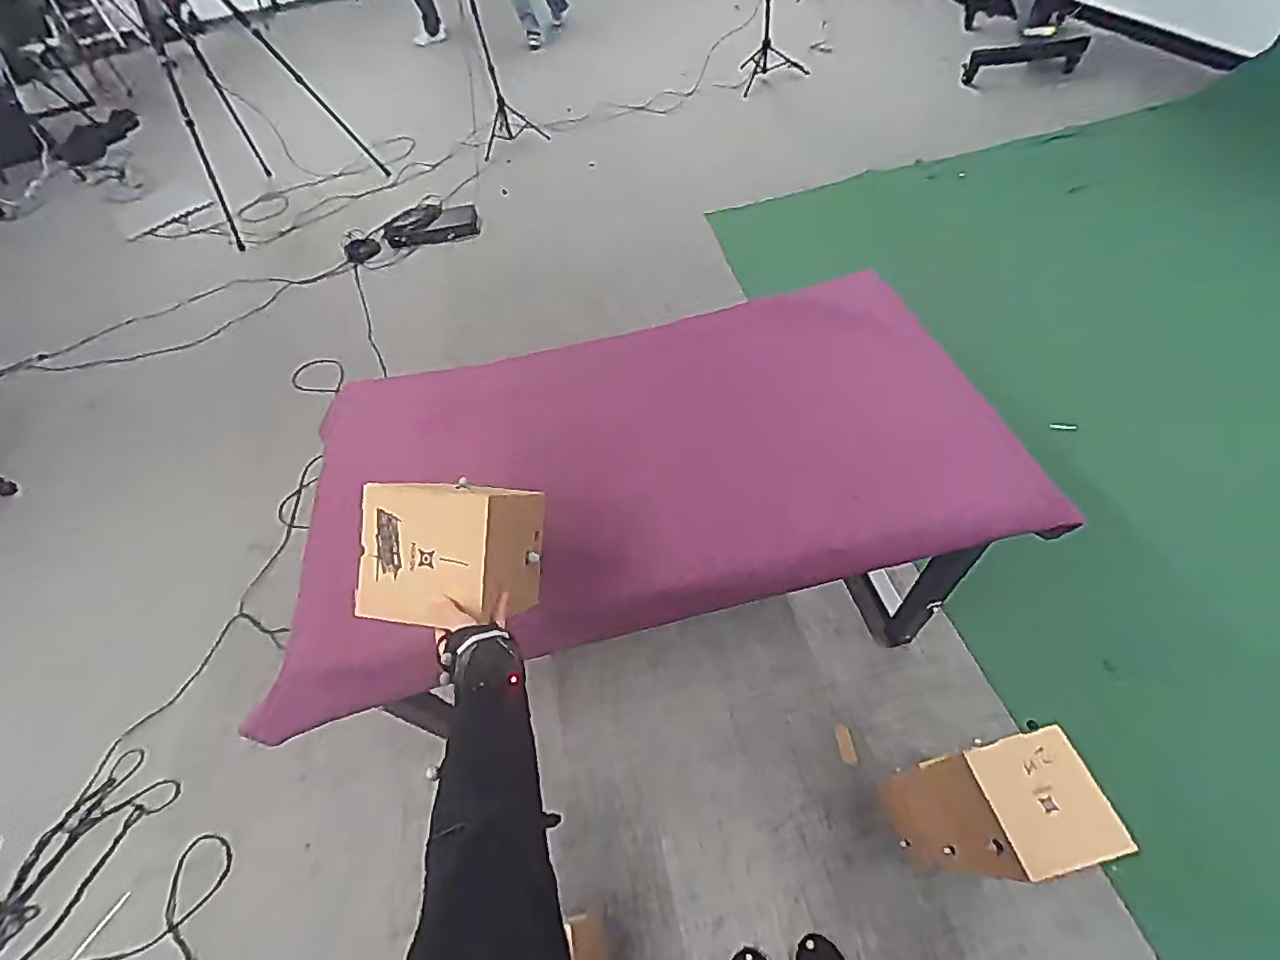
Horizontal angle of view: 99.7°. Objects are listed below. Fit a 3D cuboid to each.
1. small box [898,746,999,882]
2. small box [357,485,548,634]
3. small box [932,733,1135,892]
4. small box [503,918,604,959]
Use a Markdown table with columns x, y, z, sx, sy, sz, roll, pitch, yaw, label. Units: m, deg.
| x | y | z | sx | sy | sz | roll | pitch | yaw | label |
| --- | --- | --- | --- | --- | --- | --- | --- | --- | --- |
| 0.614 | 0.623 | 1.008 | 0.168 | 0.176 | 0.179 | -15 | 55 | -3 | small box |
| -0.244 | 0.096 | 0.732 | 0.179 | 0.176 | 0.168 | 4 | 90 | 13 | small box |
| 0.612 | 0.532 | 0.870 | 0.168 | 0.176 | 0.179 | -15 | 54 | -3 | small box |
| -0.161 | 0.986 | 1.055 | 0.168 | 0.176 | 0.179 | -11 | 54 | 0 | small box |
